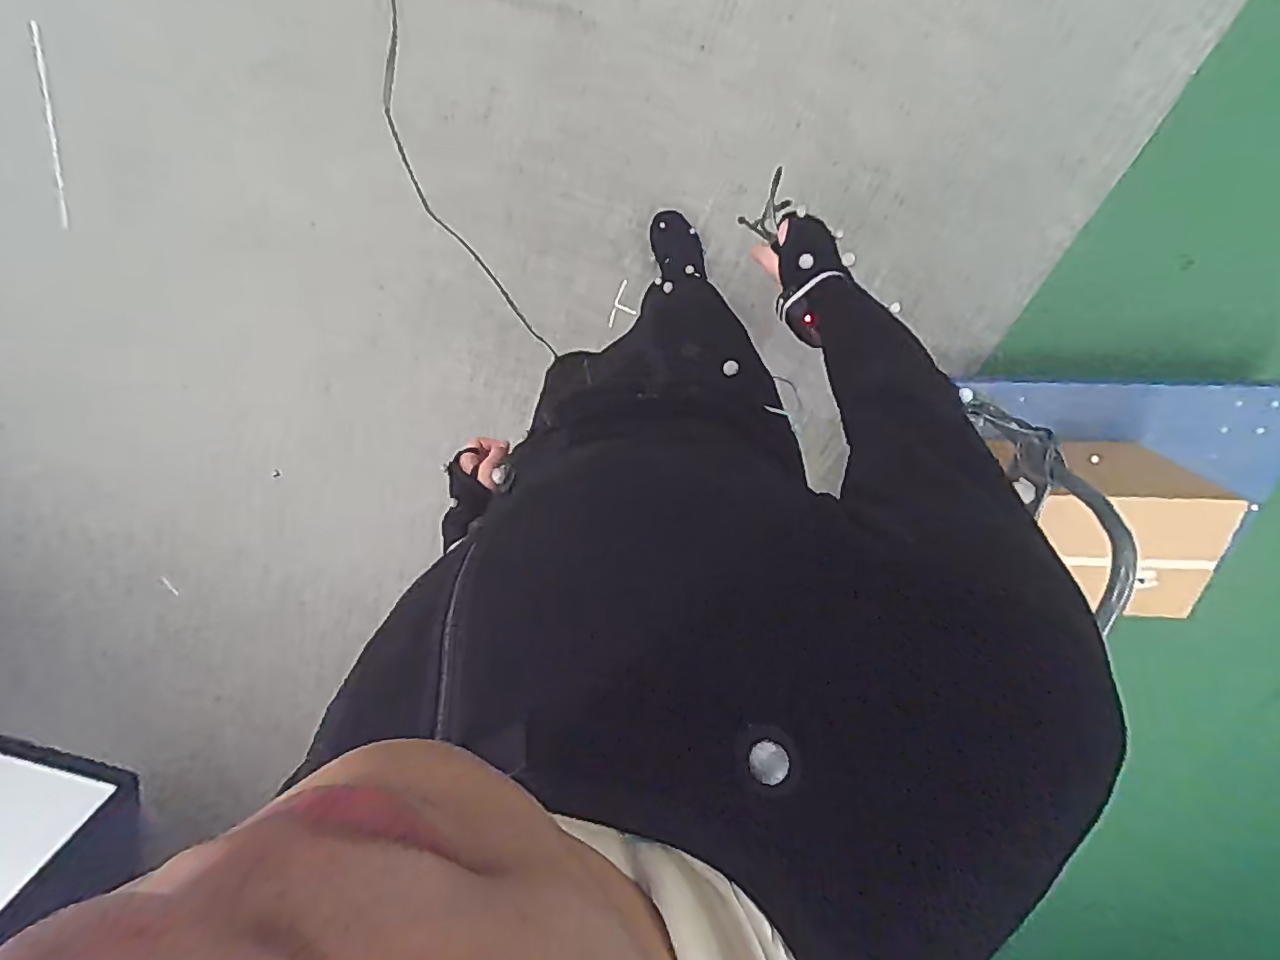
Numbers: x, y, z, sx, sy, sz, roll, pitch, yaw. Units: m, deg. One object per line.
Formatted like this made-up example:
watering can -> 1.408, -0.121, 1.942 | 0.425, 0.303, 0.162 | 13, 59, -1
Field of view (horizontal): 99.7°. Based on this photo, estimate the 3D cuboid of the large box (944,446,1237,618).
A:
large box -> 1.041, 0.113, 1.321 | 0.408, 0.320, 0.320 | 1, 118, 3
